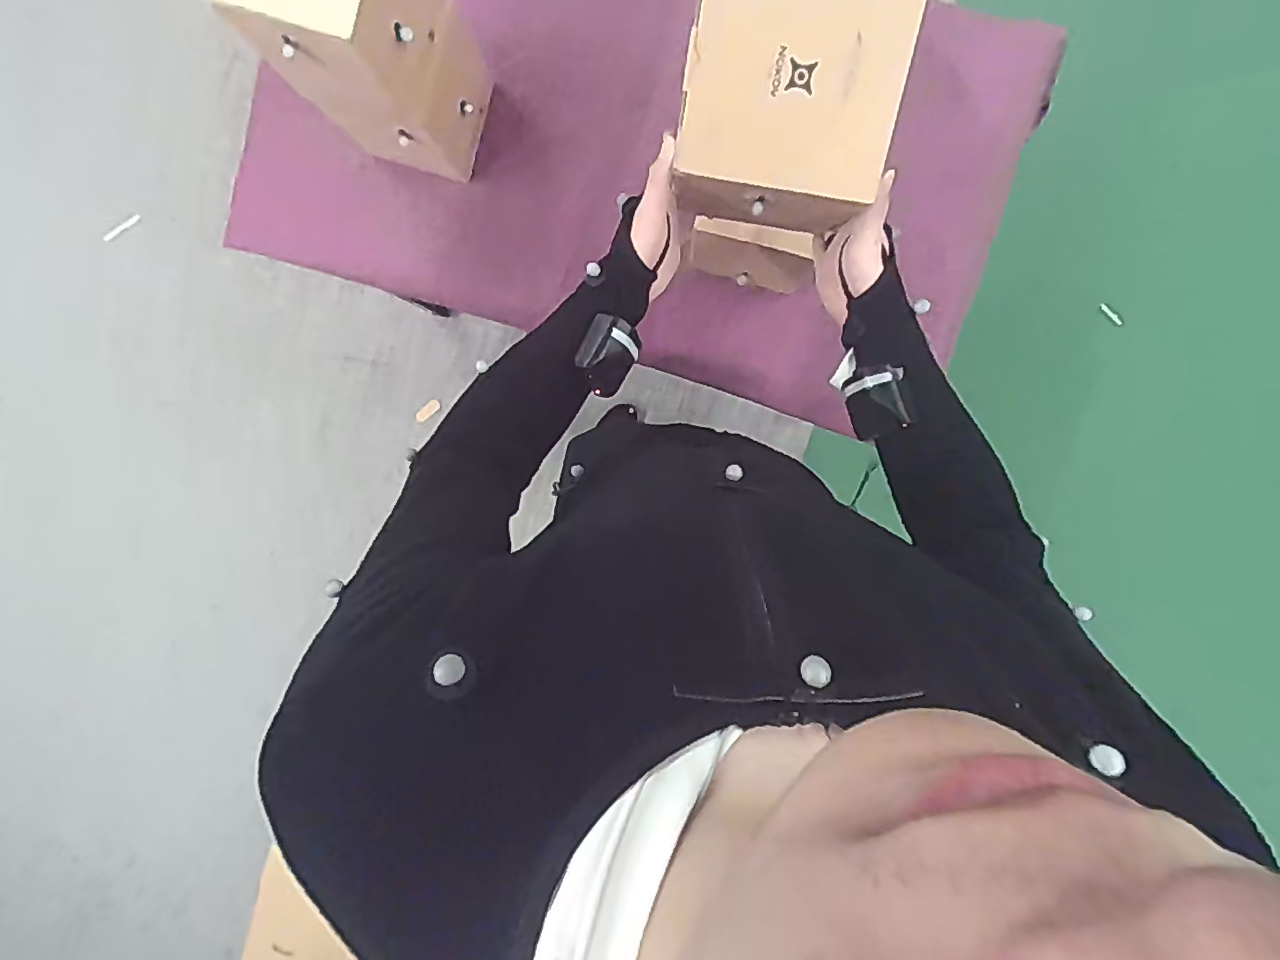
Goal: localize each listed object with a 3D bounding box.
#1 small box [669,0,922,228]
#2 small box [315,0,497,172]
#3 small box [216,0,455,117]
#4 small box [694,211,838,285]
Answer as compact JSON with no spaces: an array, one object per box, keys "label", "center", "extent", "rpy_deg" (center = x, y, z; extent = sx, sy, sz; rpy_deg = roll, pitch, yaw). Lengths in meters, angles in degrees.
[{"label":"small box","center":[0.127,-0.349,0.511],"extent":[0.179,0.176,0.168],"rpy_deg":[10,107,0]},{"label":"small box","center":[-0.334,-0.593,0.805],"extent":[0.179,0.176,0.168],"rpy_deg":[18,96,2]},{"label":"small box","center":[-0.347,-0.575,0.645],"extent":[0.179,0.176,0.168],"rpy_deg":[18,97,3]},{"label":"small box","center":[0.185,-0.399,0.784],"extent":[0.179,0.176,0.168],"rpy_deg":[16,96,3]}]
